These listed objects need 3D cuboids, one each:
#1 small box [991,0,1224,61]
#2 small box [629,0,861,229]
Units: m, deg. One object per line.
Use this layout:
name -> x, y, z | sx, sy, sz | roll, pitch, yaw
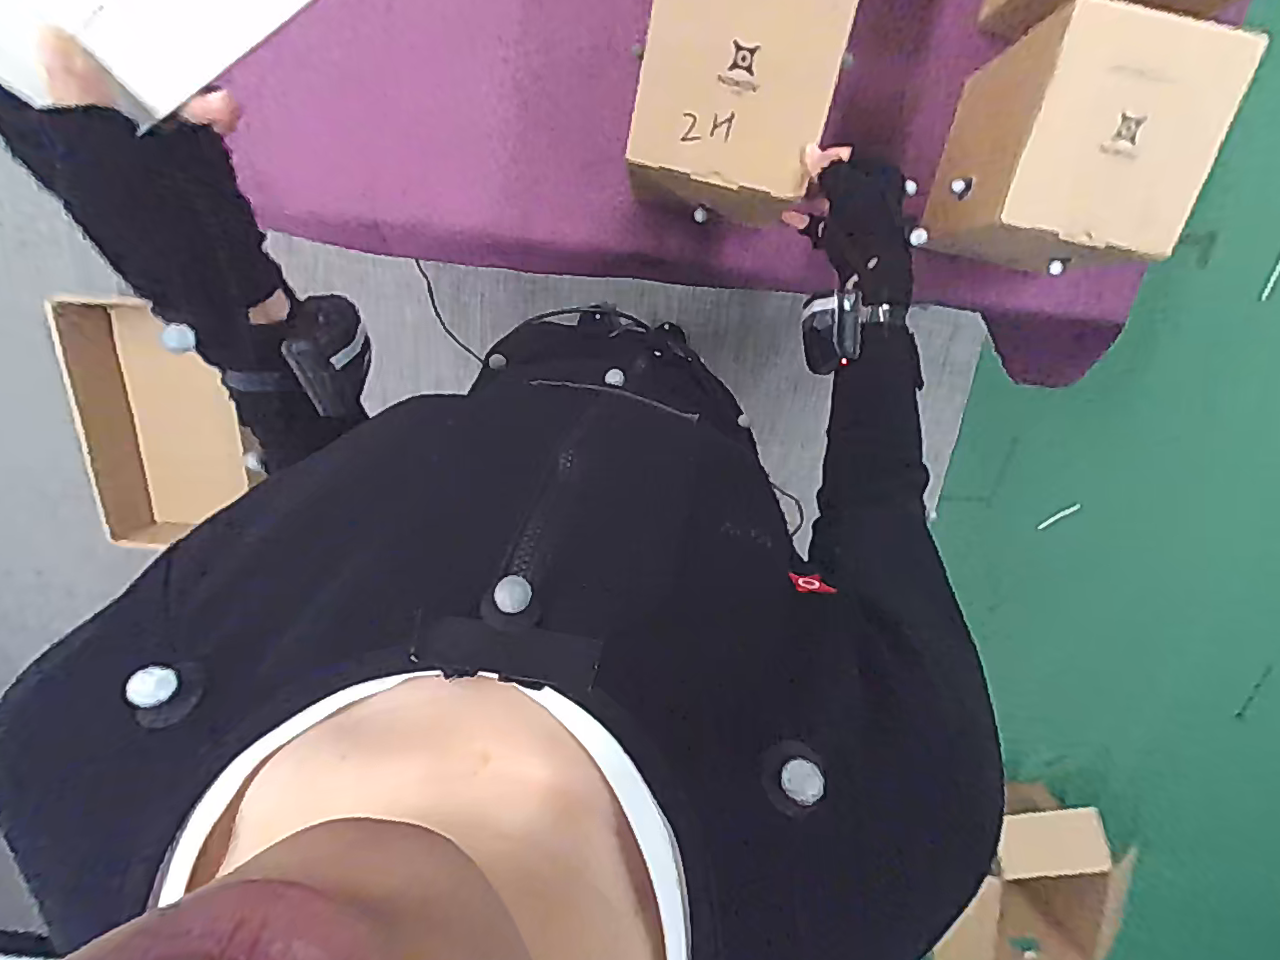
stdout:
small box -> 0.454, -0.517, 0.478 | 0.168, 0.176, 0.179 | 14, 108, -3
small box -> 0.087, -0.368, 0.532 | 0.168, 0.176, 0.179 | 12, 107, -2
